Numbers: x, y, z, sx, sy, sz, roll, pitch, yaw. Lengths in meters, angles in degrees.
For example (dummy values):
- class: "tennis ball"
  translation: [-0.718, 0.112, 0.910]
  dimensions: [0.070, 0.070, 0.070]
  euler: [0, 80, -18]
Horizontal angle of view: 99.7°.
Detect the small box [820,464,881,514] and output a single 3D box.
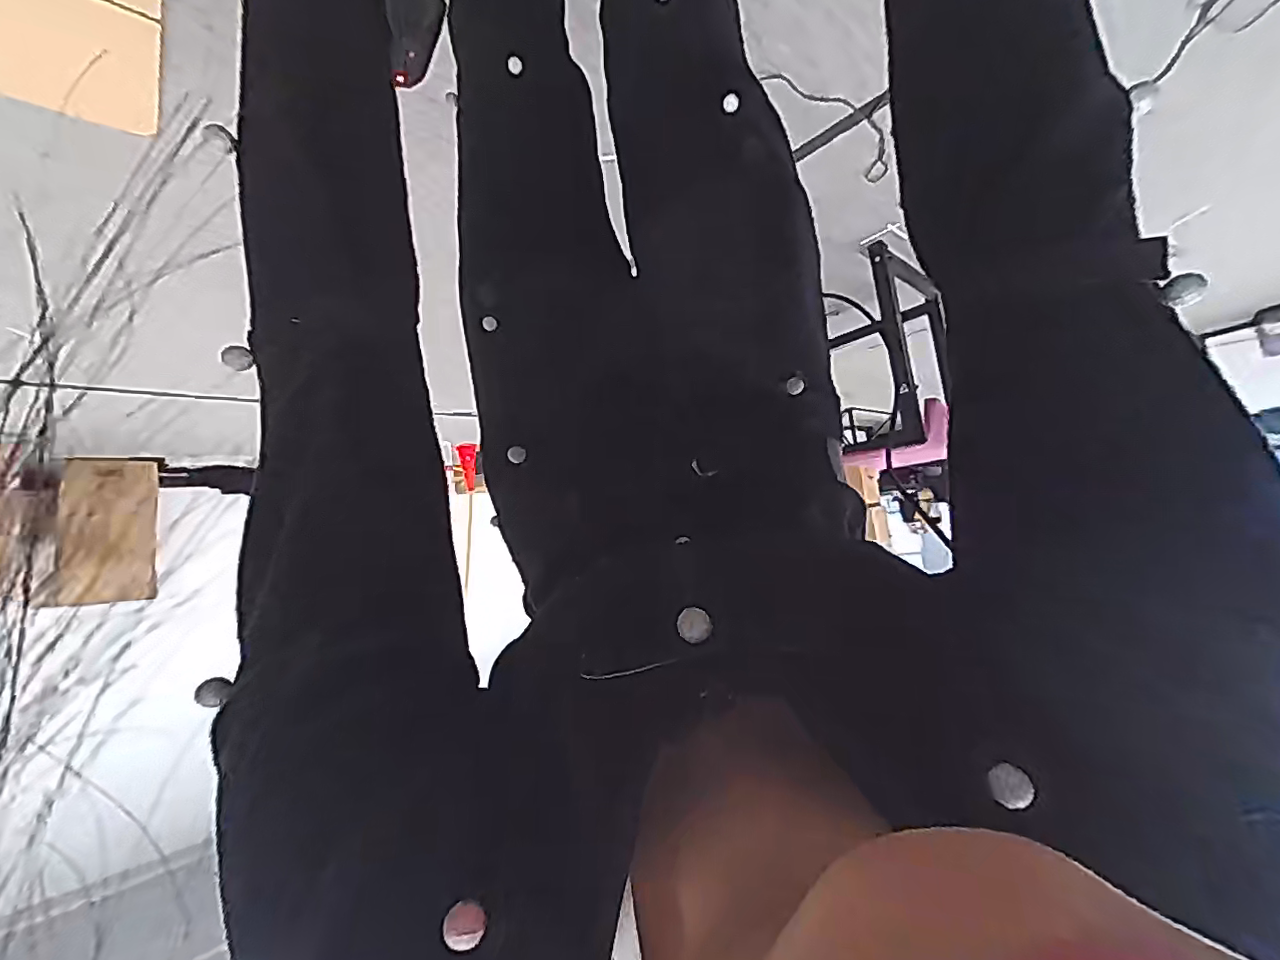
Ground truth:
- class: "small box"
  translation: [0.832, 0.037, 2.148]
  dimensions: [0.179, 0.176, 0.168]
  euler: [-14, 172, 41]
